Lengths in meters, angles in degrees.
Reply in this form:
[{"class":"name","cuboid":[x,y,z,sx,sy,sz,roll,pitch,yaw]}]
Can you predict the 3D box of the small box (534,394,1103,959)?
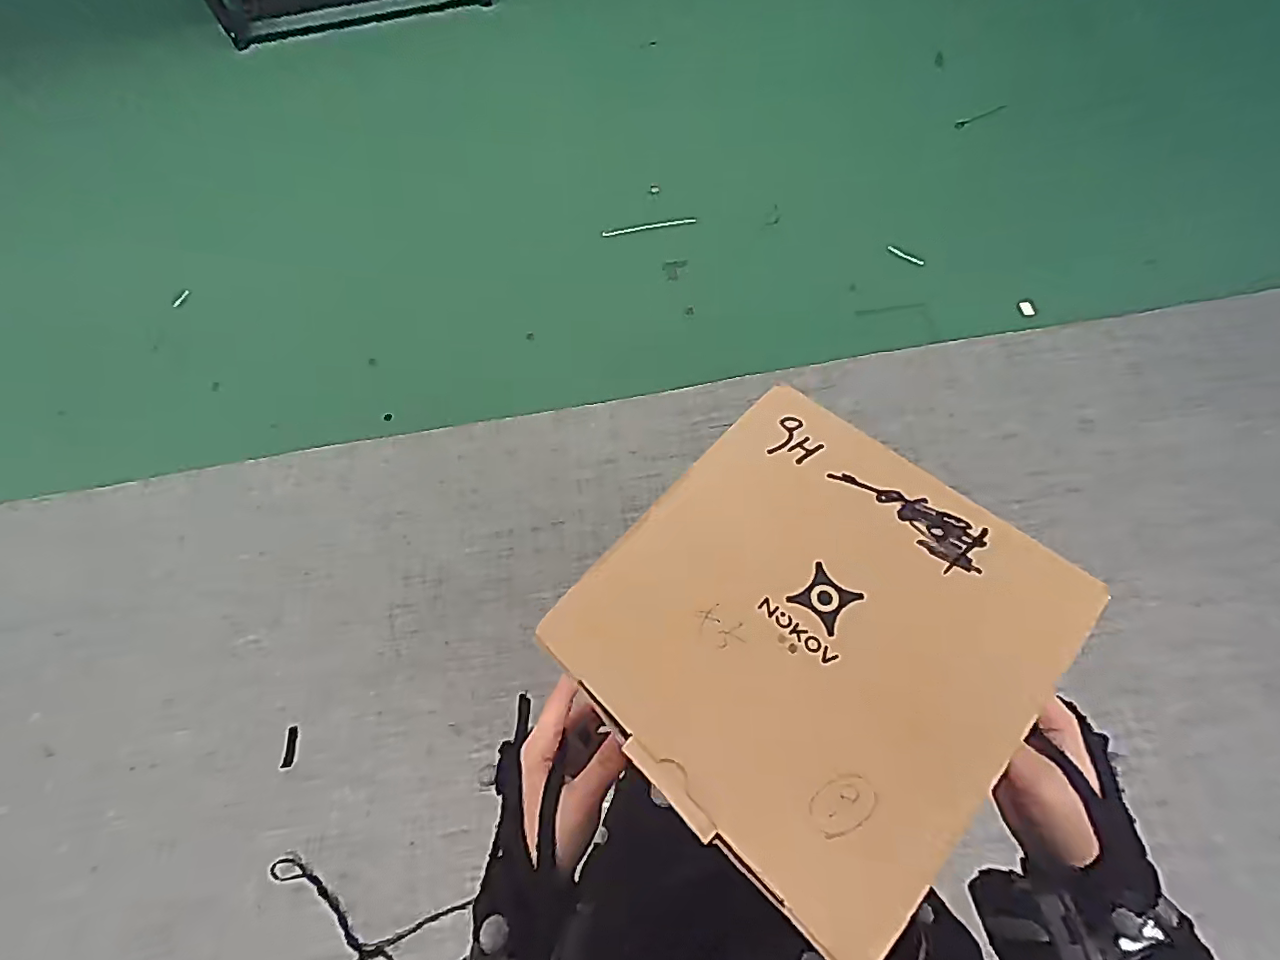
[{"class":"small box","cuboid":[0.079,0.096,0.295,0.168,0.176,0.179,39,74,24]}]
